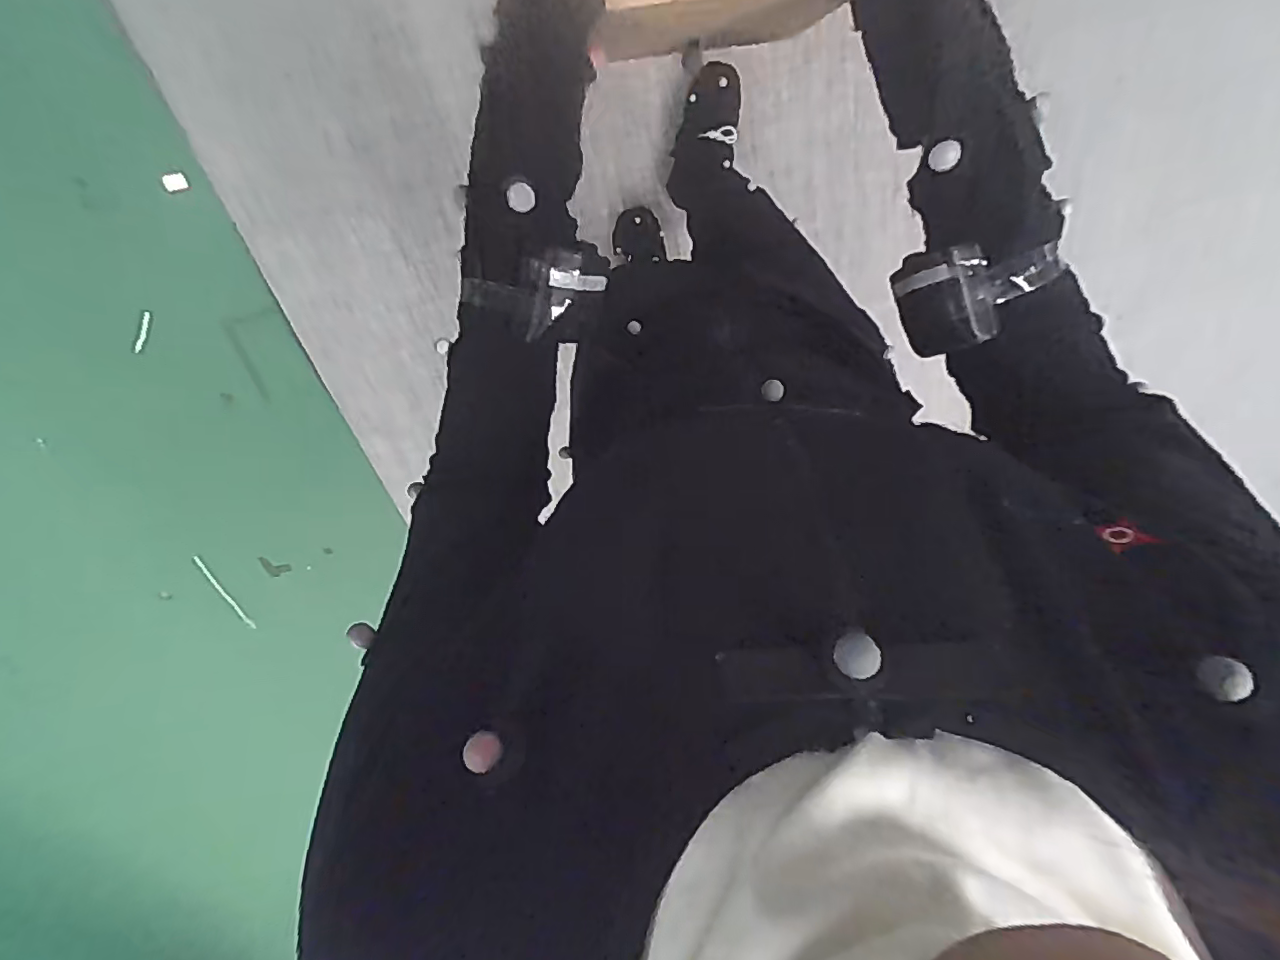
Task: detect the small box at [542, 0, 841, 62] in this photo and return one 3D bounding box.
[{"bbox_3d":[0.024,-0.362,0.311,0.179,0.176,0.168,-6,120,1],"label":"small box"}]
